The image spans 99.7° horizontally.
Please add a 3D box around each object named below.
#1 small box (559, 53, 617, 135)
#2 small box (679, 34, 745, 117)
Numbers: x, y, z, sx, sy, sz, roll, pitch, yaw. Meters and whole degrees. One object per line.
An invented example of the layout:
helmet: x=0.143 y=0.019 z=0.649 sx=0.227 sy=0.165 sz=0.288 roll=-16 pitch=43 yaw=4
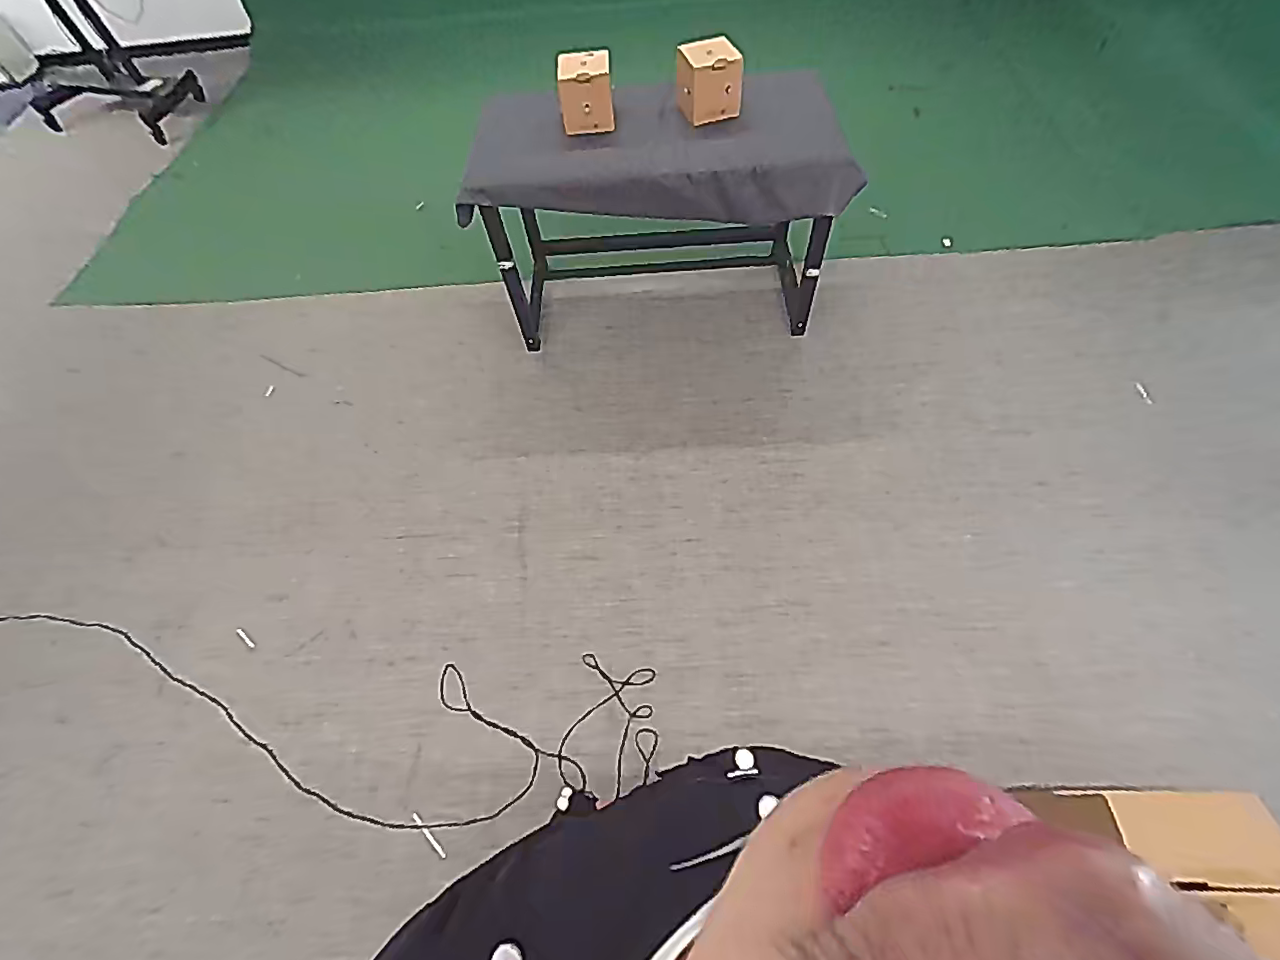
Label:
small box: x=-0.171 y=-1.274 z=1.797 sx=0.168 sy=0.176 sz=0.179 roll=-8 pitch=58 yaw=1
small box: x=0.230 y=-1.314 z=1.767 sx=0.168 sy=0.176 sz=0.179 roll=-13 pitch=58 yaw=-6
